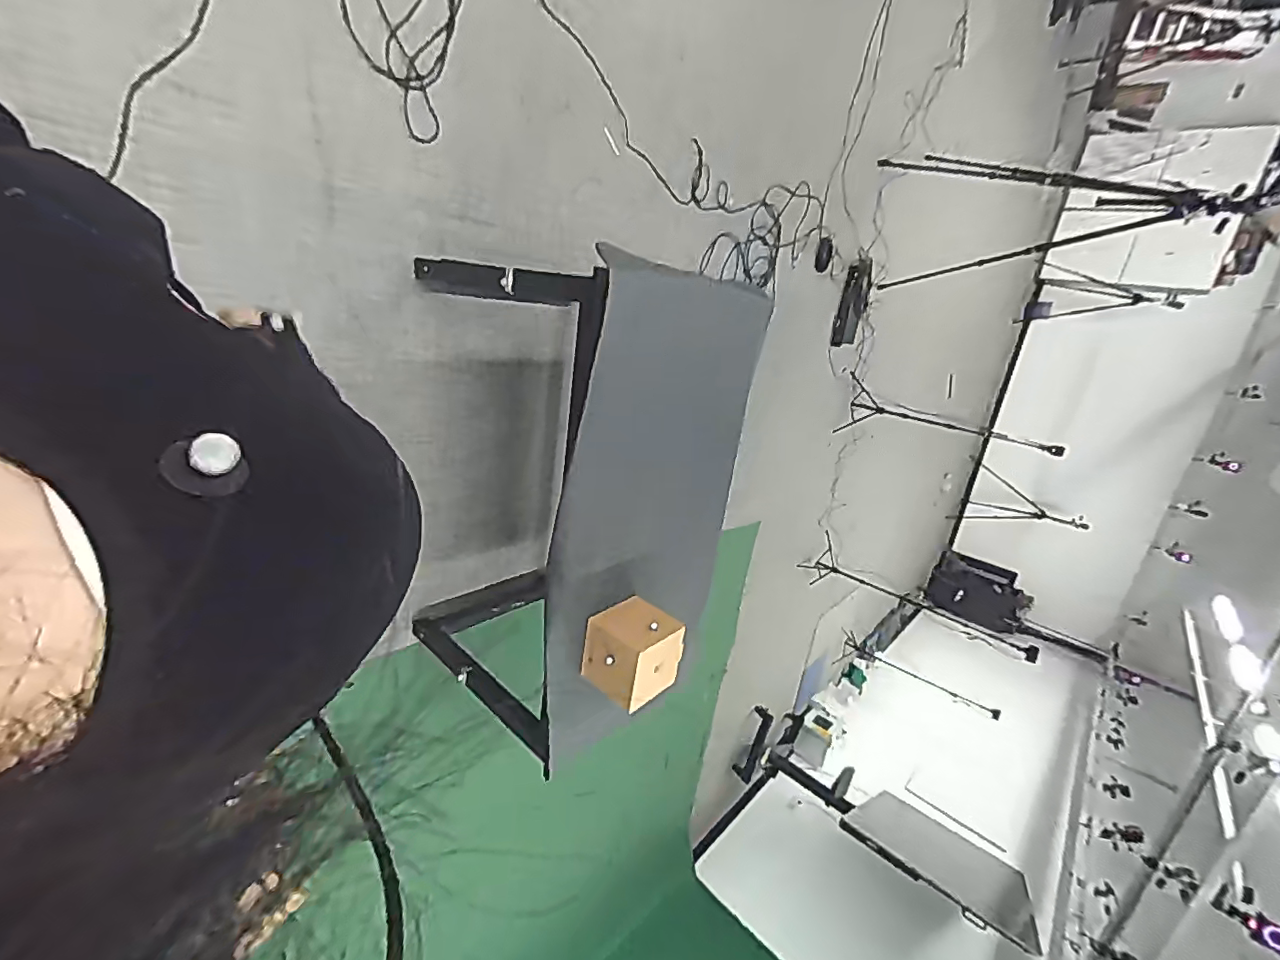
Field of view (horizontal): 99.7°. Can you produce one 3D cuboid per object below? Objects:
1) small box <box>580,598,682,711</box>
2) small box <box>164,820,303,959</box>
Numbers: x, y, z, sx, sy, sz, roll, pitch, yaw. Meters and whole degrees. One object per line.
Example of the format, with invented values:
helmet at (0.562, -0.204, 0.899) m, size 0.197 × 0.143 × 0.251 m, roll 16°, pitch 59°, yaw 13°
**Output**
small box at (-0.025, 0.409, 1.300) m, size 0.179 × 0.176 × 0.168 m, roll -13°, pitch 118°, yaw -49°
small box at (-0.881, 0.893, 1.167) m, size 0.179 × 0.176 × 0.168 m, roll -37°, pitch 132°, yaw -34°
